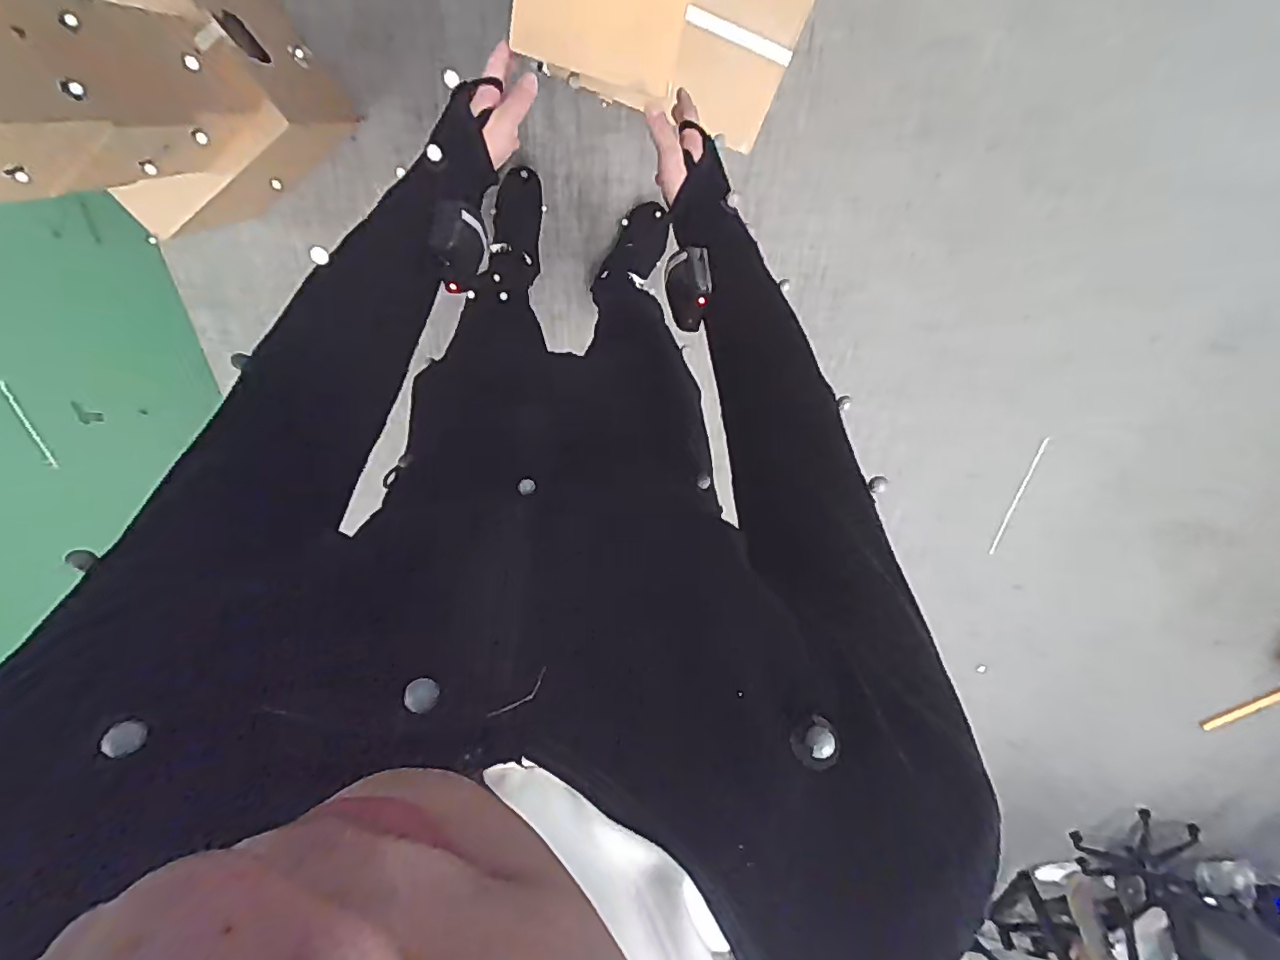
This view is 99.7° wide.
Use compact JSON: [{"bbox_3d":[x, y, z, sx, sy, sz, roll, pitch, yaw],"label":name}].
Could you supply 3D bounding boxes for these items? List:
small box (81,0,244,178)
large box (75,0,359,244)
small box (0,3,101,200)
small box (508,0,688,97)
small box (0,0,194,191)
[{"bbox_3d":[-0.806,-0.634,0.890,0.179,0.176,0.168,-27,119,18],"label":"small box"},{"bbox_3d":[-0.881,-0.761,1.102,0.408,0.320,0.320,-26,118,18],"label":"large box"},{"bbox_3d":[-0.798,-0.446,0.623,0.179,0.176,0.168,-26,120,19],"label":"small box"},{"bbox_3d":[-0.030,-0.525,0.564,0.168,0.176,0.179,13,123,-8],"label":"small box"},{"bbox_3d":[-0.801,-0.539,0.758,0.168,0.176,0.179,-25,121,17],"label":"small box"}]
